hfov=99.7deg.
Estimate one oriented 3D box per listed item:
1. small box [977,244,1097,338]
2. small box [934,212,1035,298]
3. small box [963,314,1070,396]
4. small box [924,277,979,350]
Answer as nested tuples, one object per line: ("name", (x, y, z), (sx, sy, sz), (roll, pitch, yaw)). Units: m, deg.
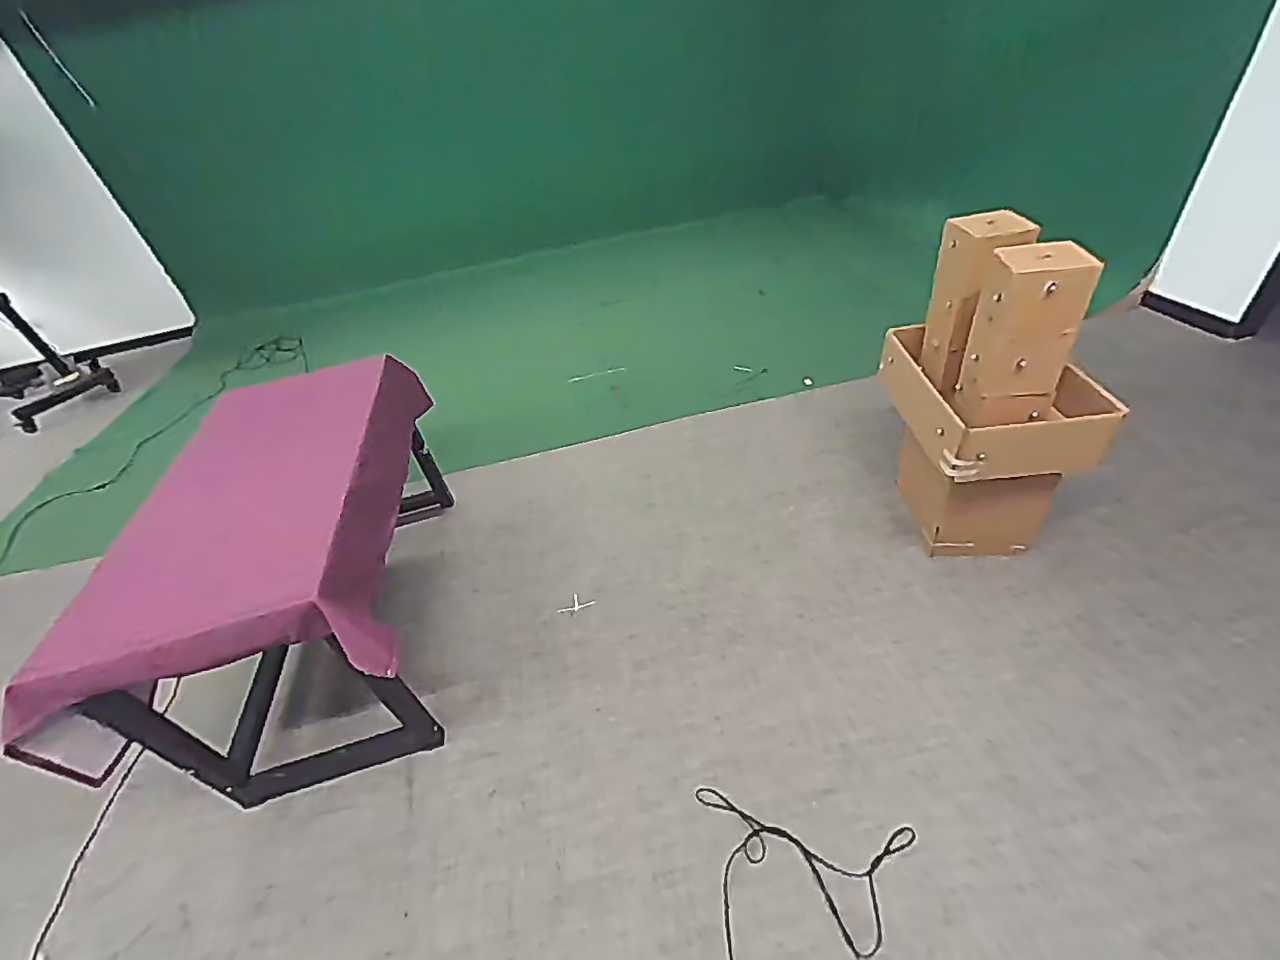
("small box", (0.956, -0.459, 1.327), (0.179, 0.176, 0.168), (0, 42, 11))
("small box", (0.967, -0.639, 1.538), (0.168, 0.176, 0.179), (-8, 41, 5))
("small box", (0.980, -0.335, 1.431), (0.179, 0.176, 0.168), (-2, 41, 11))
("small box", (0.994, -0.517, 1.646), (0.168, 0.176, 0.179), (-7, 41, 5))
